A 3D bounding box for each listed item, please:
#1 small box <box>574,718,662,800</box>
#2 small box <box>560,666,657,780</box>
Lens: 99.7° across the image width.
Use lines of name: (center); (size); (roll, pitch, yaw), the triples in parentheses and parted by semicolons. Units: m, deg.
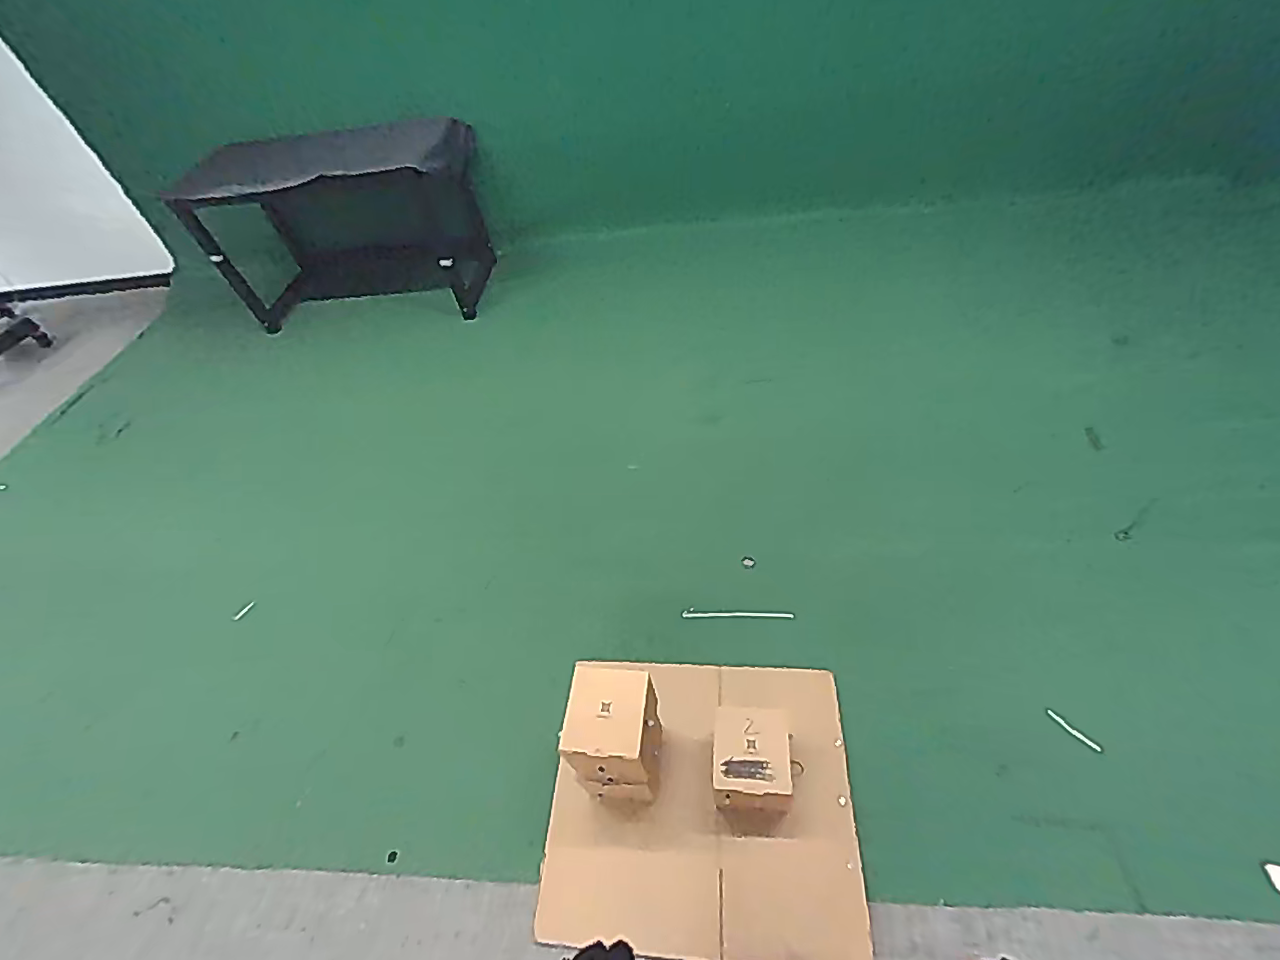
small box: (-0.043, 0.641, 1.281); (0.168, 0.176, 0.179); (0, 48, 10)
small box: (-0.058, 0.525, 1.168); (0.168, 0.176, 0.179); (1, 49, 11)
